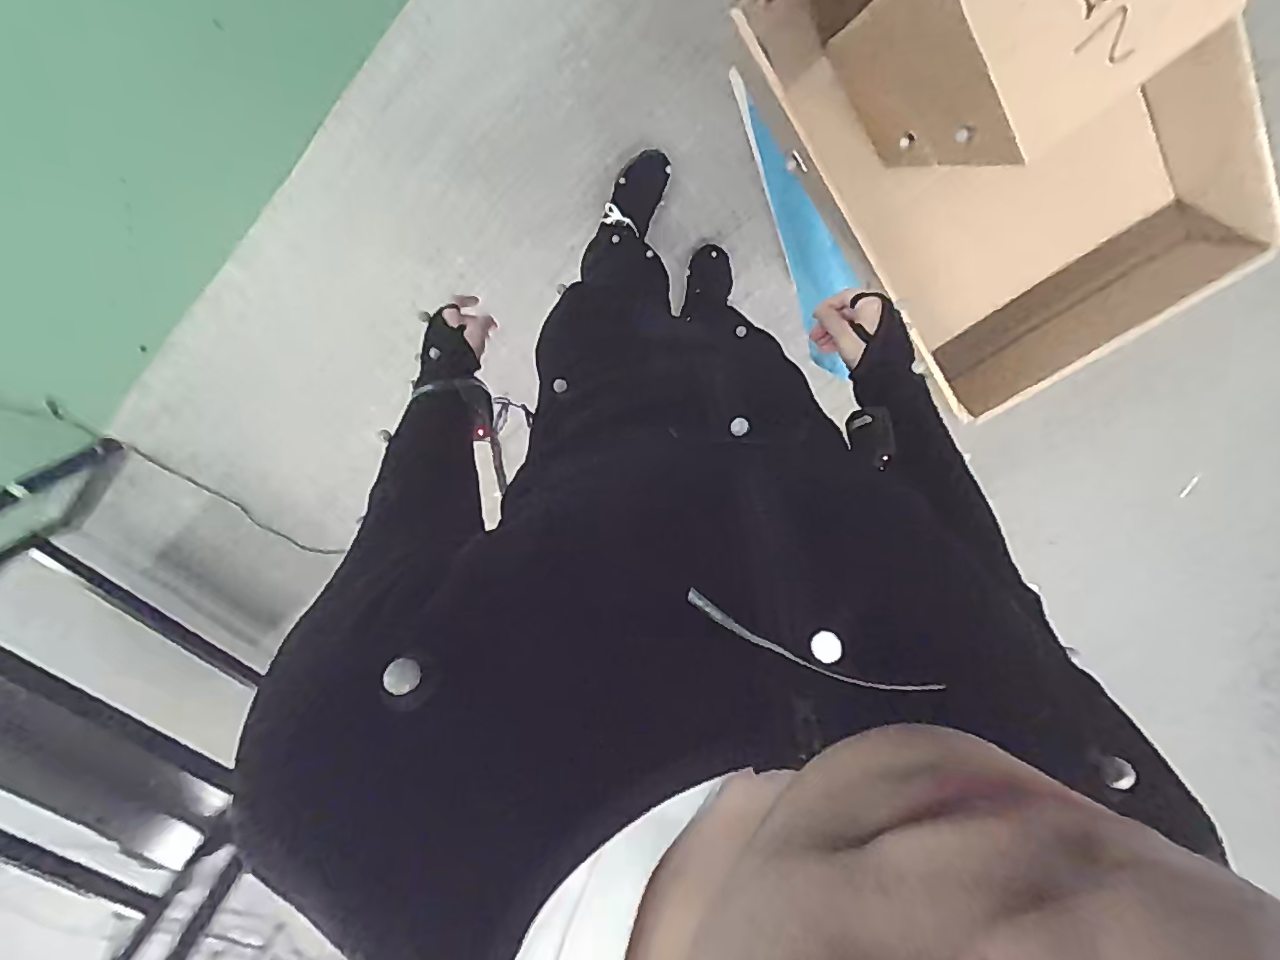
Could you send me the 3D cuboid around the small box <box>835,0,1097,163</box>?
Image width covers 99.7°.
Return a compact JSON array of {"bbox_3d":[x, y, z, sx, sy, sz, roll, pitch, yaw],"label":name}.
[{"bbox_3d":[0.349,-0.488,0.610,0.168,0.176,0.179,-34,114,20],"label":"small box"}]
